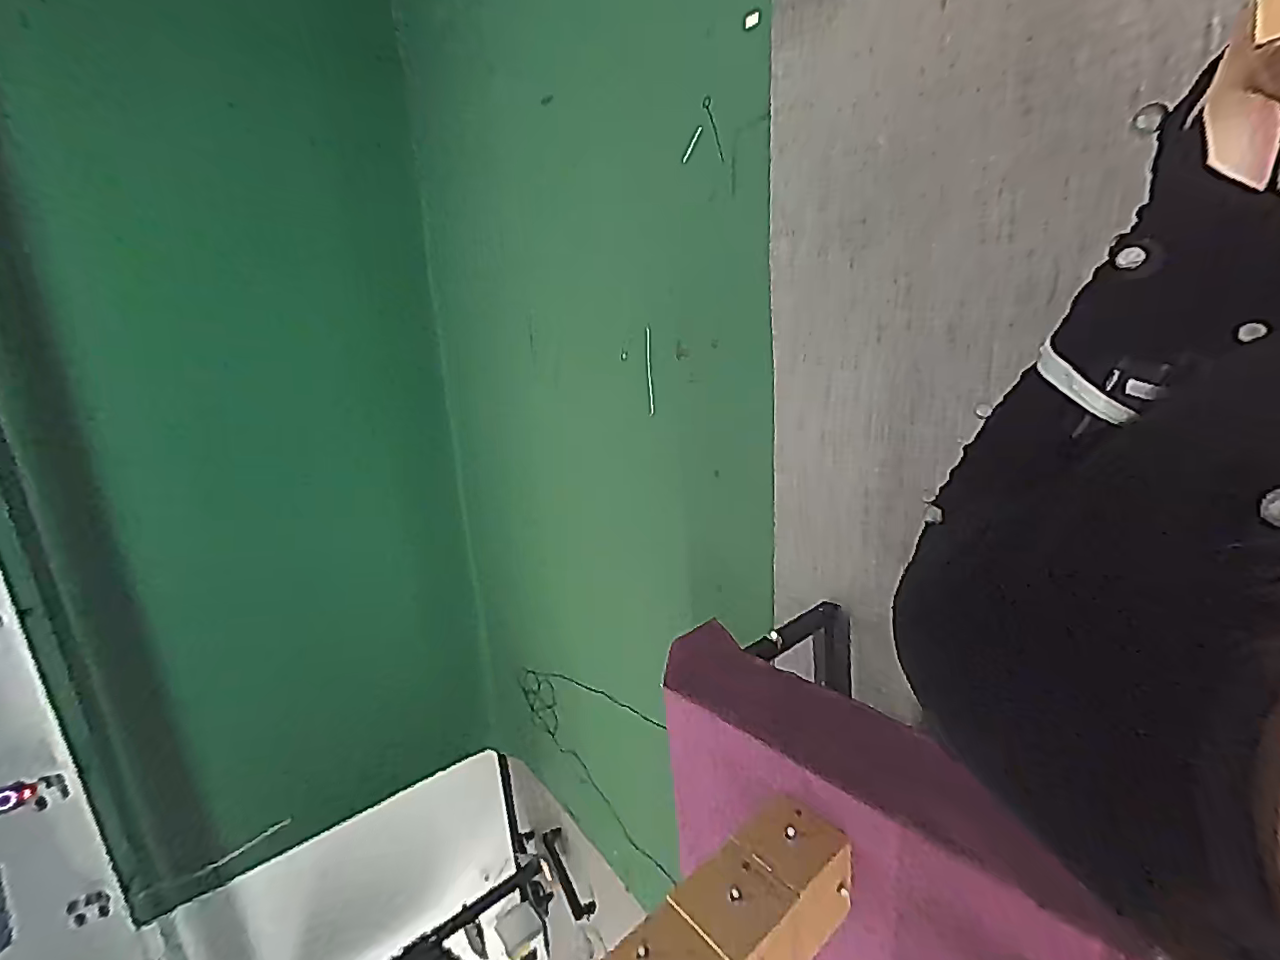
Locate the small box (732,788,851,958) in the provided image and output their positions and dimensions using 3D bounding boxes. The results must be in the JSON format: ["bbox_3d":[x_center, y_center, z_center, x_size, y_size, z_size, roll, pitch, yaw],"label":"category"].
[{"bbox_3d":[0.303,0.764,1.075,0.168,0.176,0.179,11,110,50],"label":"small box"}]

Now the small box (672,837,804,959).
[{"bbox_3d":[0.178,0.800,0.973,0.168,0.176,0.179,10,111,50],"label":"small box"}]

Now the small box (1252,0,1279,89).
[{"bbox_3d":[0.359,-0.269,0.188,0.179,0.176,0.168,6,106,54],"label":"small box"}]

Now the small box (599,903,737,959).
[{"bbox_3d":[0.056,0.841,0.873,0.179,0.176,0.168,9,111,49],"label":"small box"}]
